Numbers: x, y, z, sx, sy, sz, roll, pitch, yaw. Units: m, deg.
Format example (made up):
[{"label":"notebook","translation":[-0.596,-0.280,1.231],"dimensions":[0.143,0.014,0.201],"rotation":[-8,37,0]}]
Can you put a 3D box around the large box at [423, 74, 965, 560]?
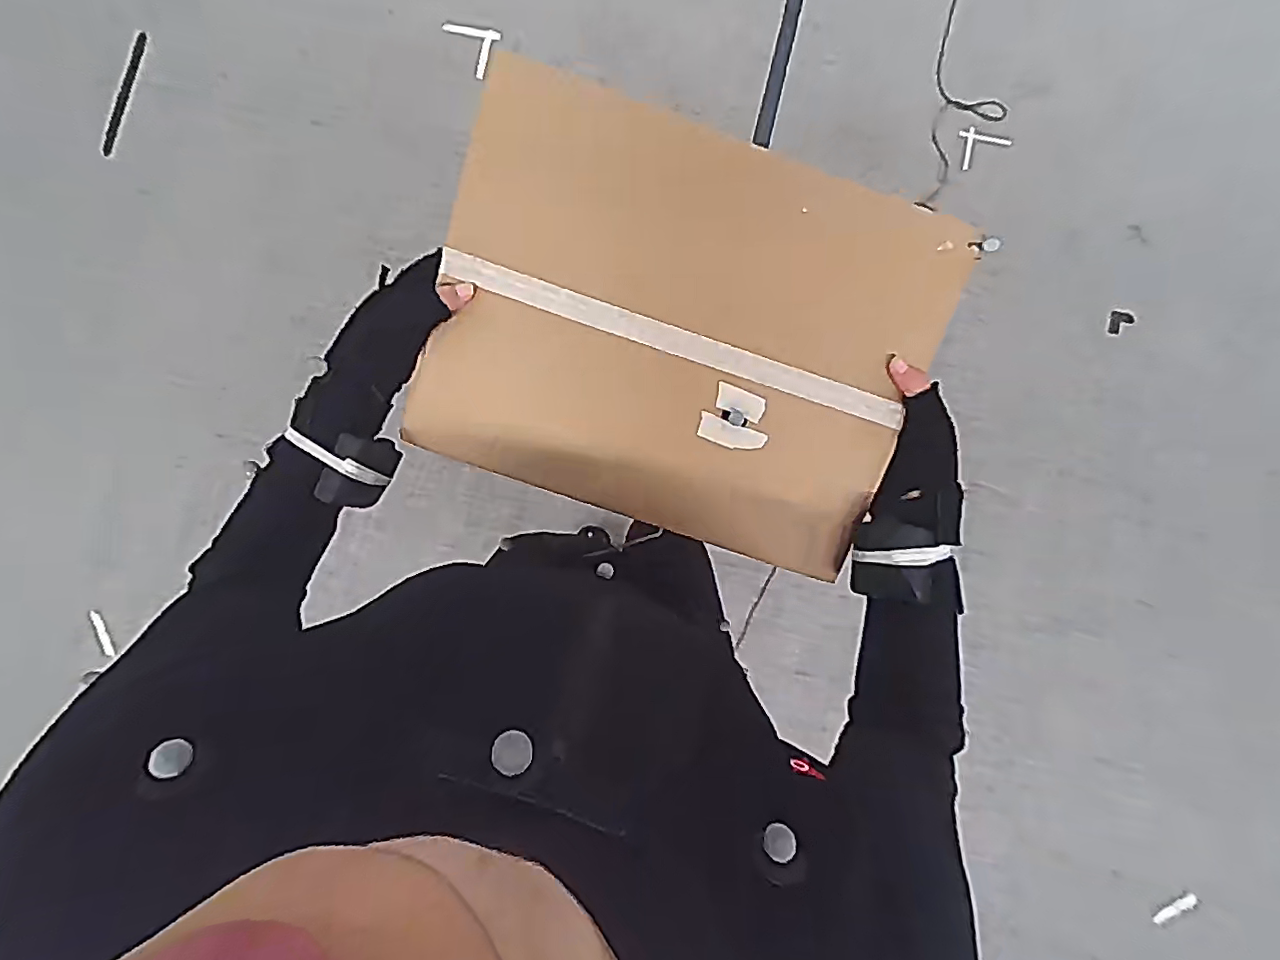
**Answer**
[{"label":"large box","translation":[0.037,-0.153,0.611],"dimensions":[0.408,0.320,0.320],"rotation":[18,102,-3]}]
